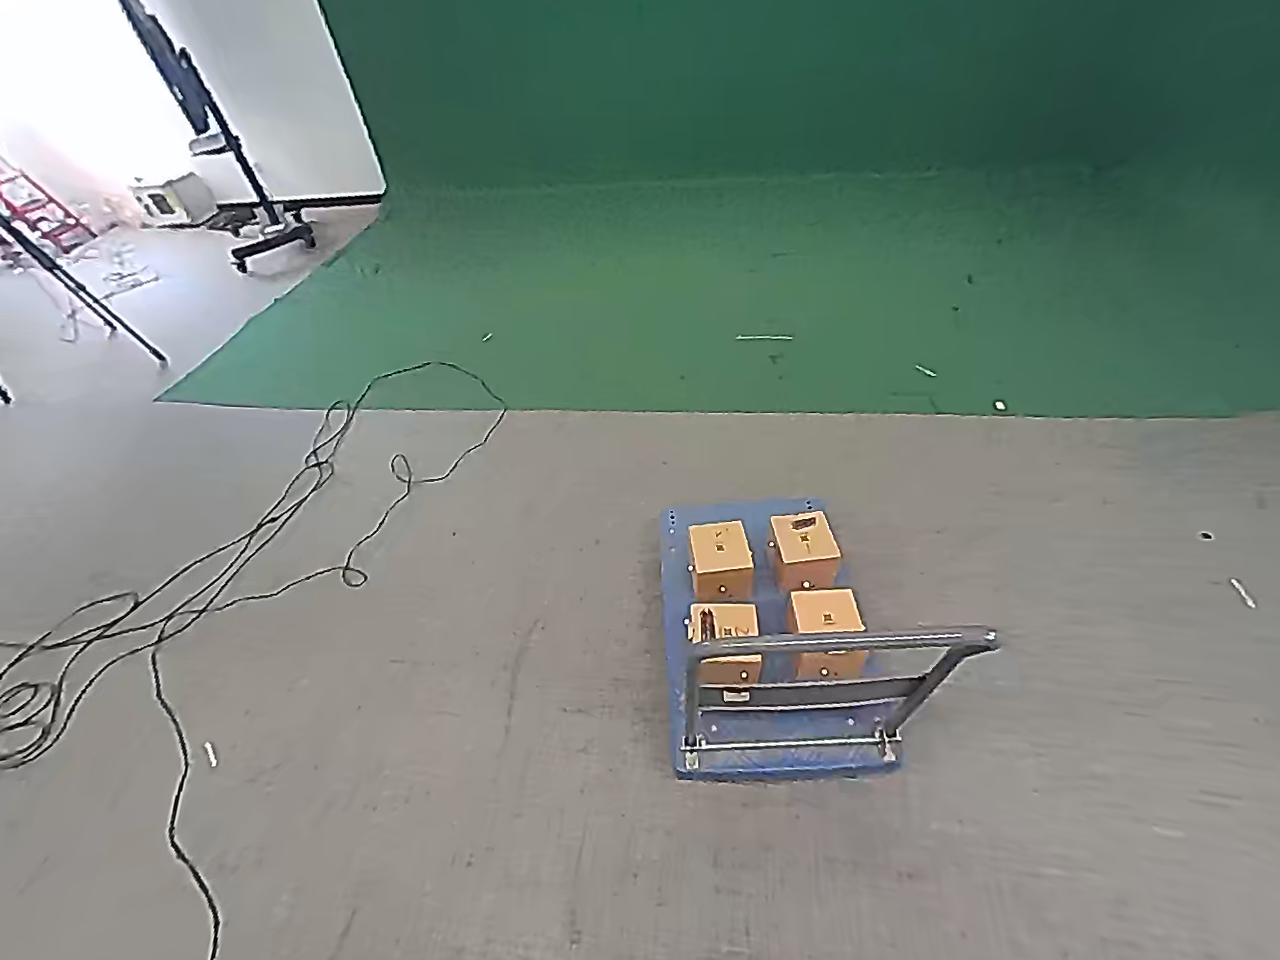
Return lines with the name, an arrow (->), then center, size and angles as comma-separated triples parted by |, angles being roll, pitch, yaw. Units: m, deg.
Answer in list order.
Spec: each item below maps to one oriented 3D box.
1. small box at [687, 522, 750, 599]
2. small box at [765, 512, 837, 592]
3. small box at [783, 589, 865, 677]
small box -> 0.239, 0.254, 1.671 | 0.168, 0.176, 0.179 | -6, 46, 0
small box -> 0.489, 0.224, 1.671 | 0.168, 0.176, 0.179 | -7, 47, 1
small box -> 0.495, 0.420, 1.485 | 0.168, 0.176, 0.179 | -3, 47, 3
